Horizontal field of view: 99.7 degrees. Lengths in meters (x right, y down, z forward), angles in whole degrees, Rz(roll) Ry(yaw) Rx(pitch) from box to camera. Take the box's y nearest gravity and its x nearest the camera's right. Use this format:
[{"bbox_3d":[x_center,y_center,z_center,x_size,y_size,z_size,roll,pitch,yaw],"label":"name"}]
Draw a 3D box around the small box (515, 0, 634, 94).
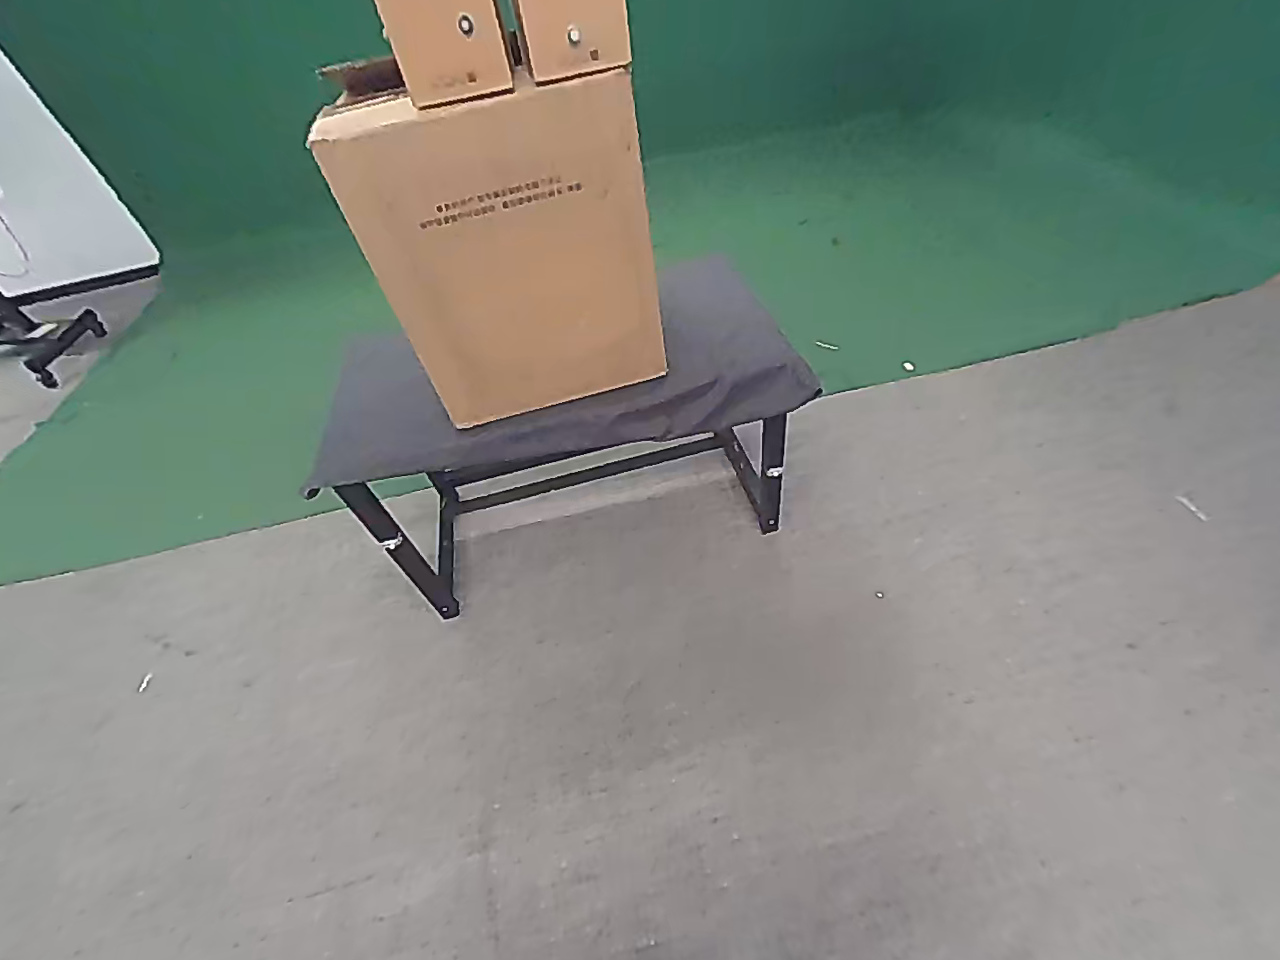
[{"bbox_3d":[-0.114,-0.762,0.892,0.168,0.176,0.179,-15,48,-5],"label":"small box"}]
